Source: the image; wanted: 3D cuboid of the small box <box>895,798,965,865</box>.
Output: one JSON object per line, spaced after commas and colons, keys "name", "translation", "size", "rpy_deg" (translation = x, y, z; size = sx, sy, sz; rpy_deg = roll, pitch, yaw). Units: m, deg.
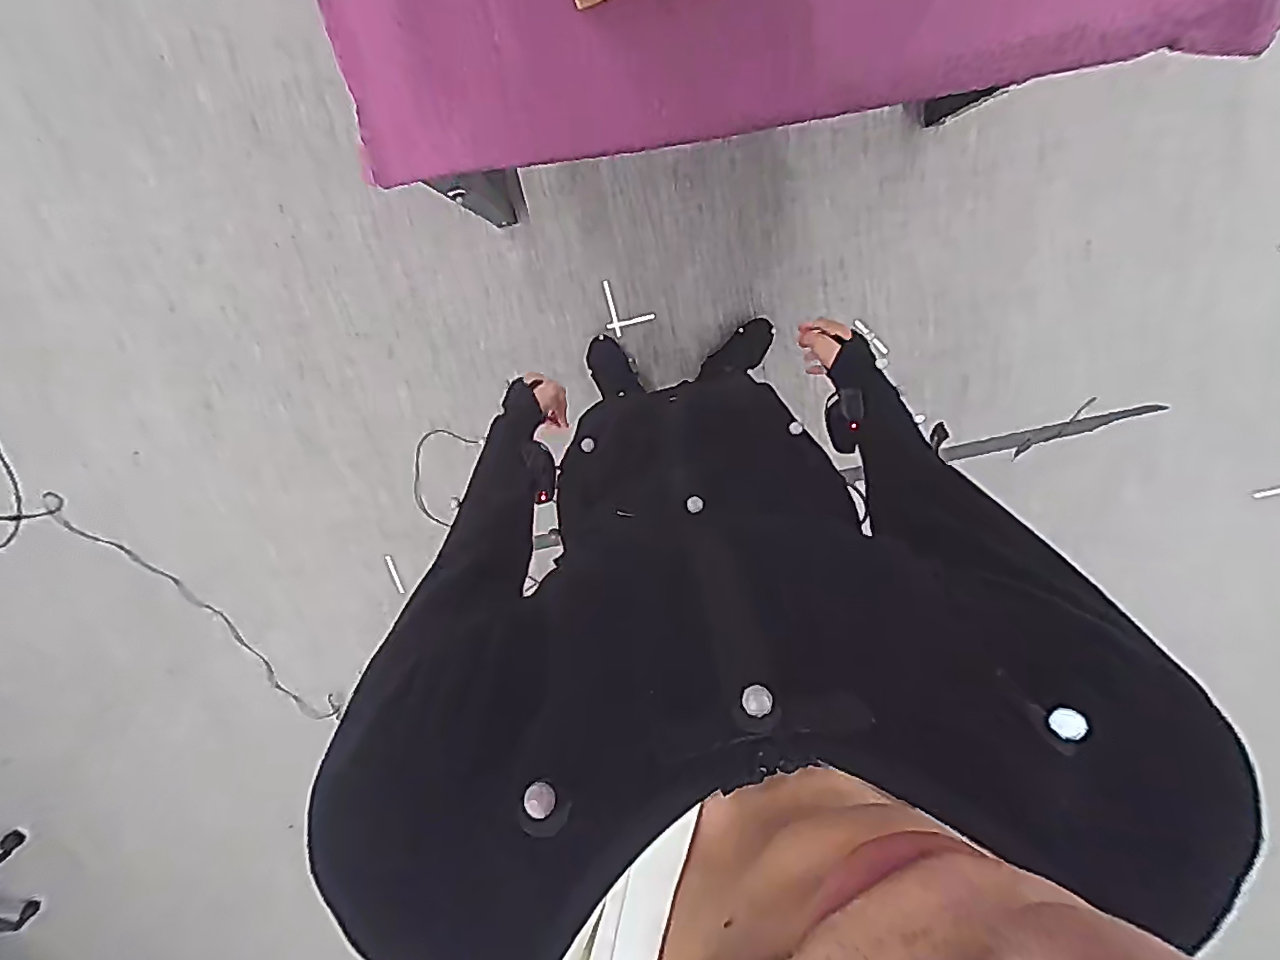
{"name": "small box", "translation": [1.143, 1.407, 2.140], "size": [0.168, 0.176, 0.179], "rpy_deg": [-24, 109, 4]}
